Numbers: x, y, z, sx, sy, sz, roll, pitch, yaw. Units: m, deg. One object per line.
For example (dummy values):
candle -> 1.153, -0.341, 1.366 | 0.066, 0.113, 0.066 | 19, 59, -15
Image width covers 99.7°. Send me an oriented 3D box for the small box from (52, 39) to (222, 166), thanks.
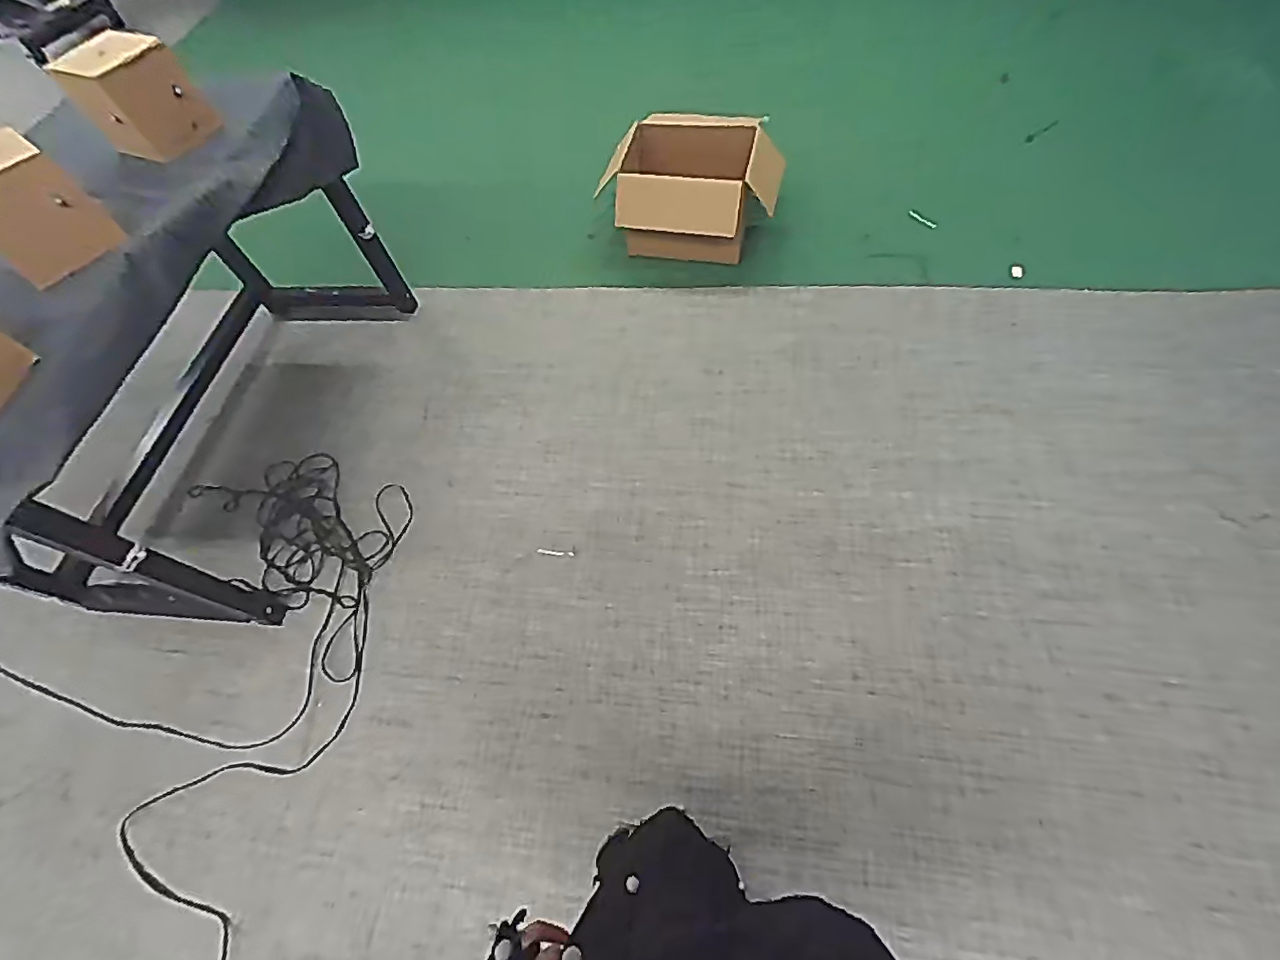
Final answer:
small box -> -1.069, -0.810, 1.167 | 0.179, 0.176, 0.168 | 19, 63, 18
